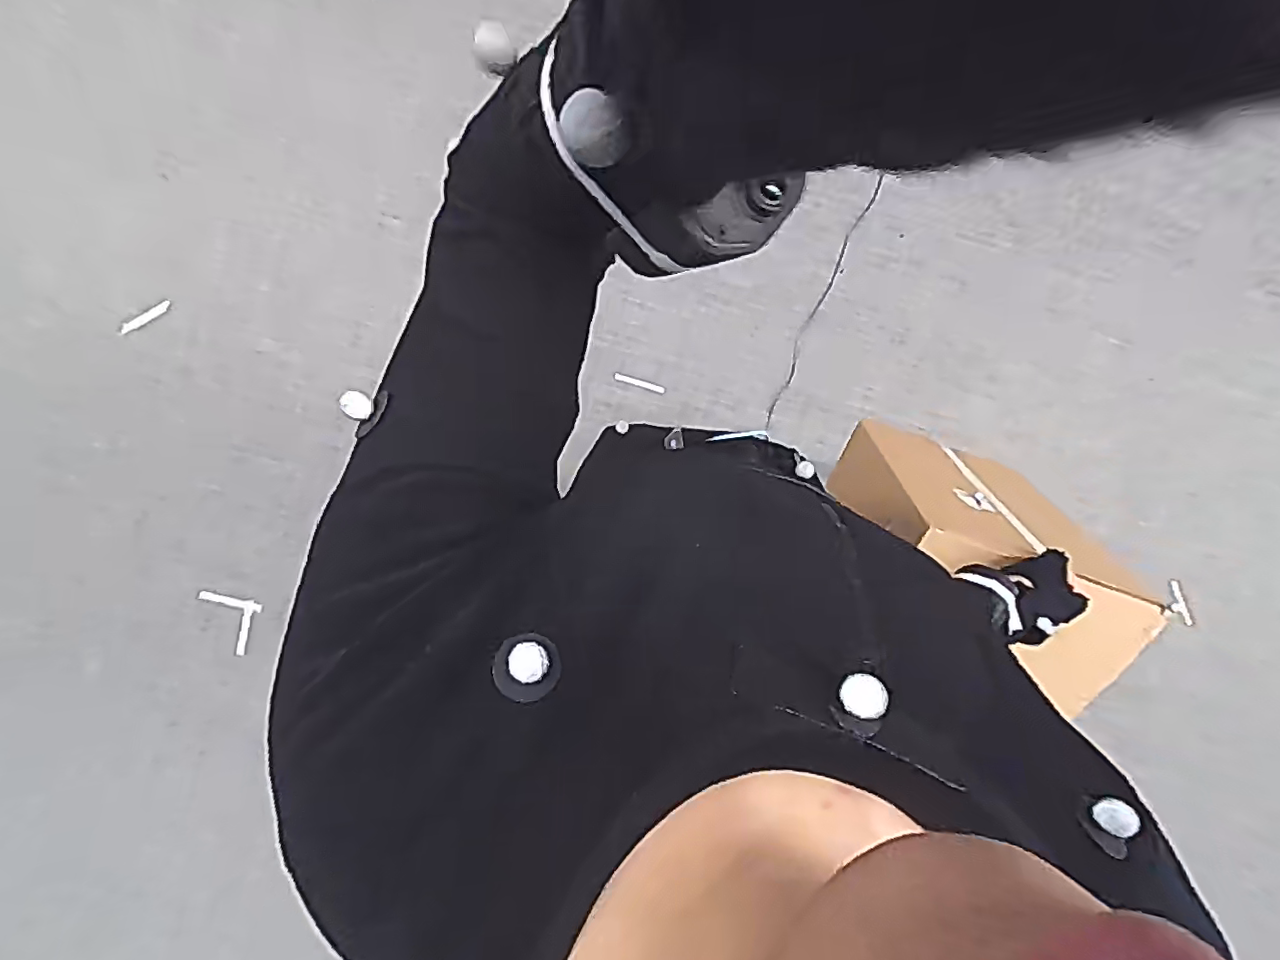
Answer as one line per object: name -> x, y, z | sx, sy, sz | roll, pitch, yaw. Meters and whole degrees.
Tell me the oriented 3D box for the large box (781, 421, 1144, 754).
large box -> 0.457, 0.150, 0.902 | 0.320, 0.408, 0.320 | 18, 118, 0
